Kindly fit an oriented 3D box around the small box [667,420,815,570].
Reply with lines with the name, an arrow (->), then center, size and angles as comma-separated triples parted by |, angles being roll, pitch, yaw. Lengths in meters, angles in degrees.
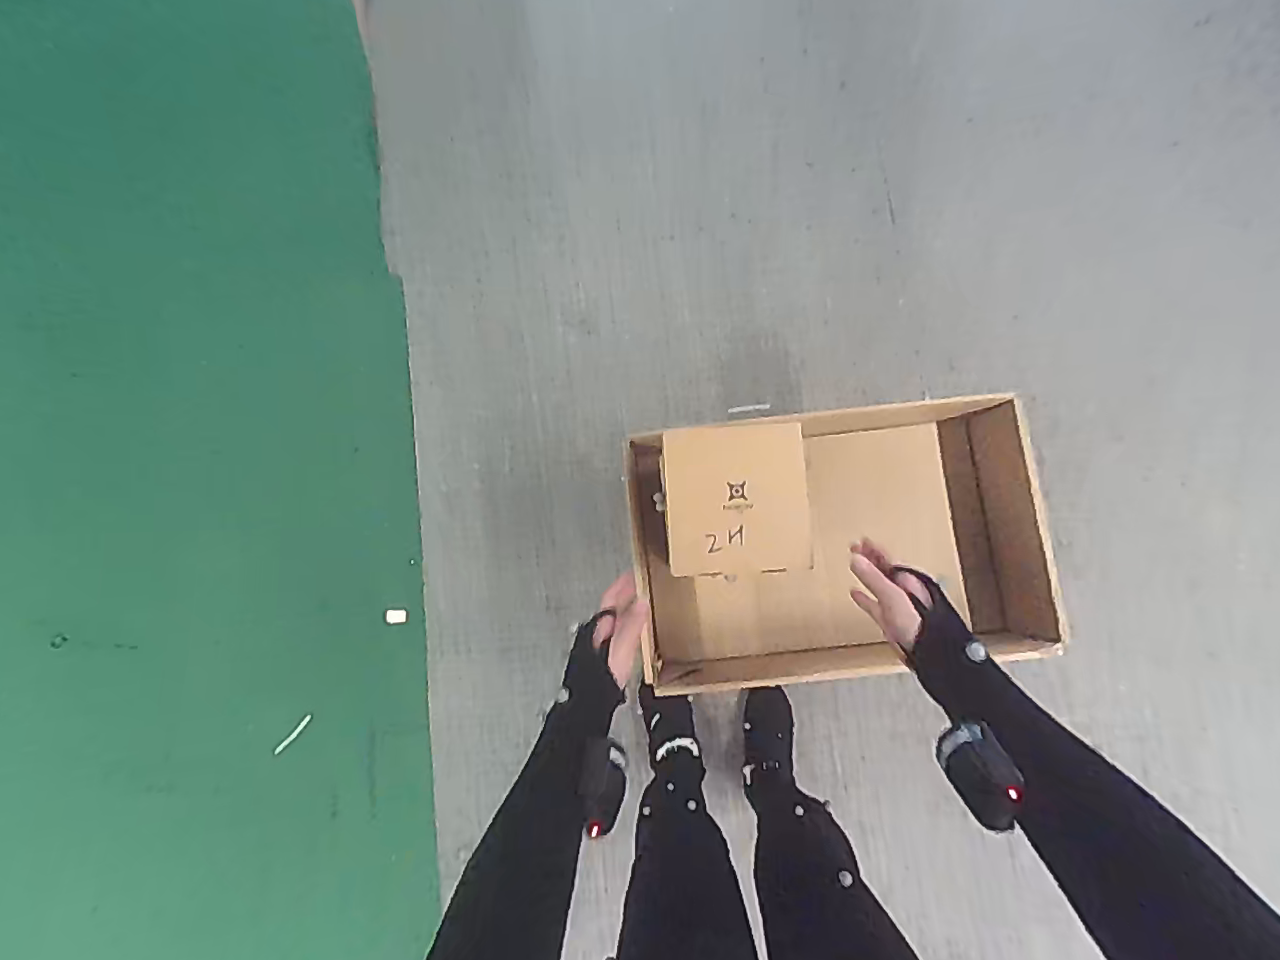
small box -> 0.120, 0.027, 0.713 | 0.168, 0.176, 0.179 | -3, 83, 3
